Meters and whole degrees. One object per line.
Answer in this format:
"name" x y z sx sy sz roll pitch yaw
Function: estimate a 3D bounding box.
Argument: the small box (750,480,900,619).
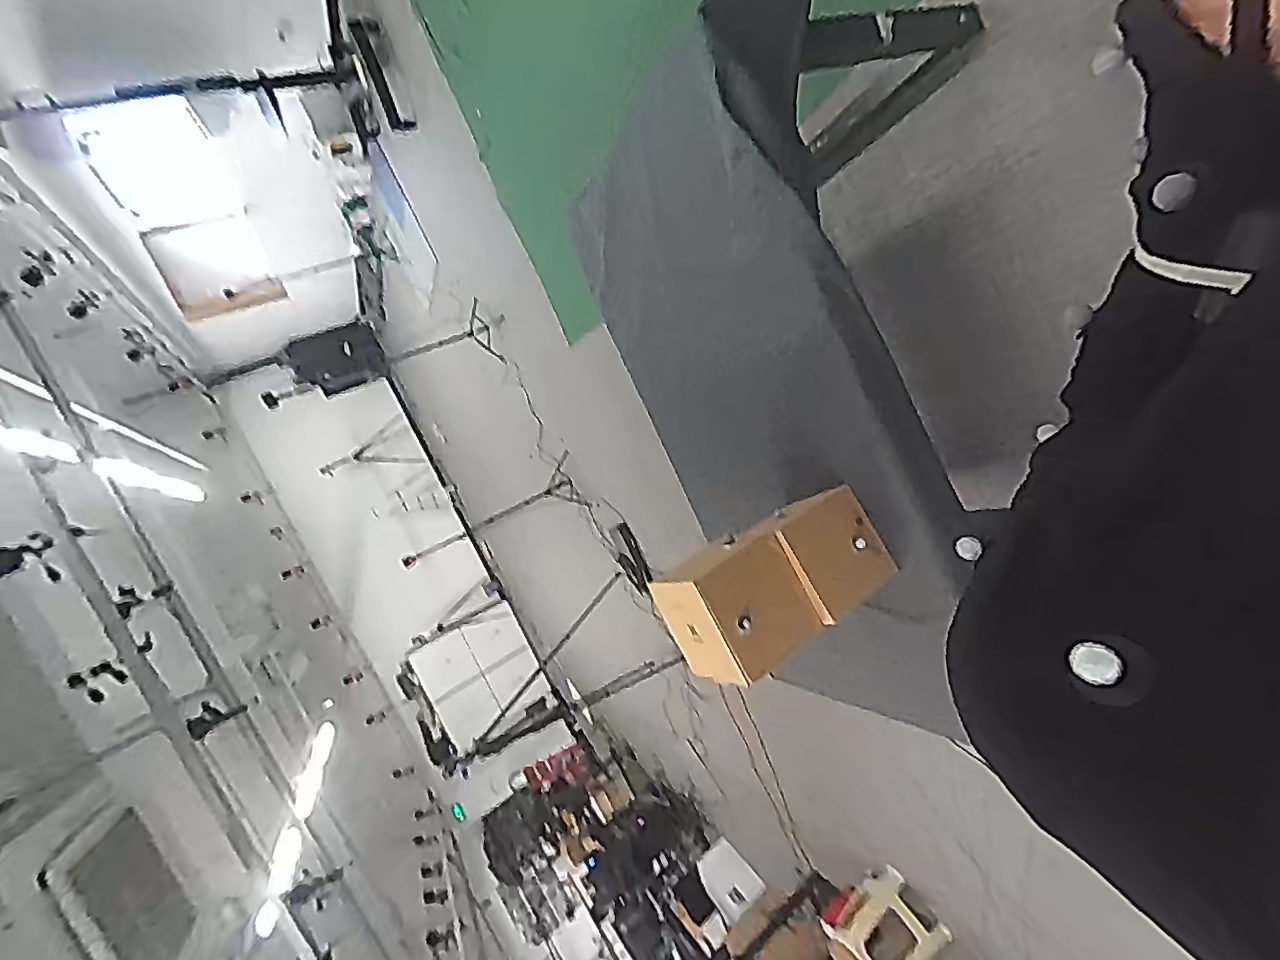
"small box" 0.296 0.122 0.922 0.168 0.176 0.179 60 154 3

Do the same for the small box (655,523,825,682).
"small box" 0.159 0.191 0.866 0.179 0.176 0.168 62 153 0
